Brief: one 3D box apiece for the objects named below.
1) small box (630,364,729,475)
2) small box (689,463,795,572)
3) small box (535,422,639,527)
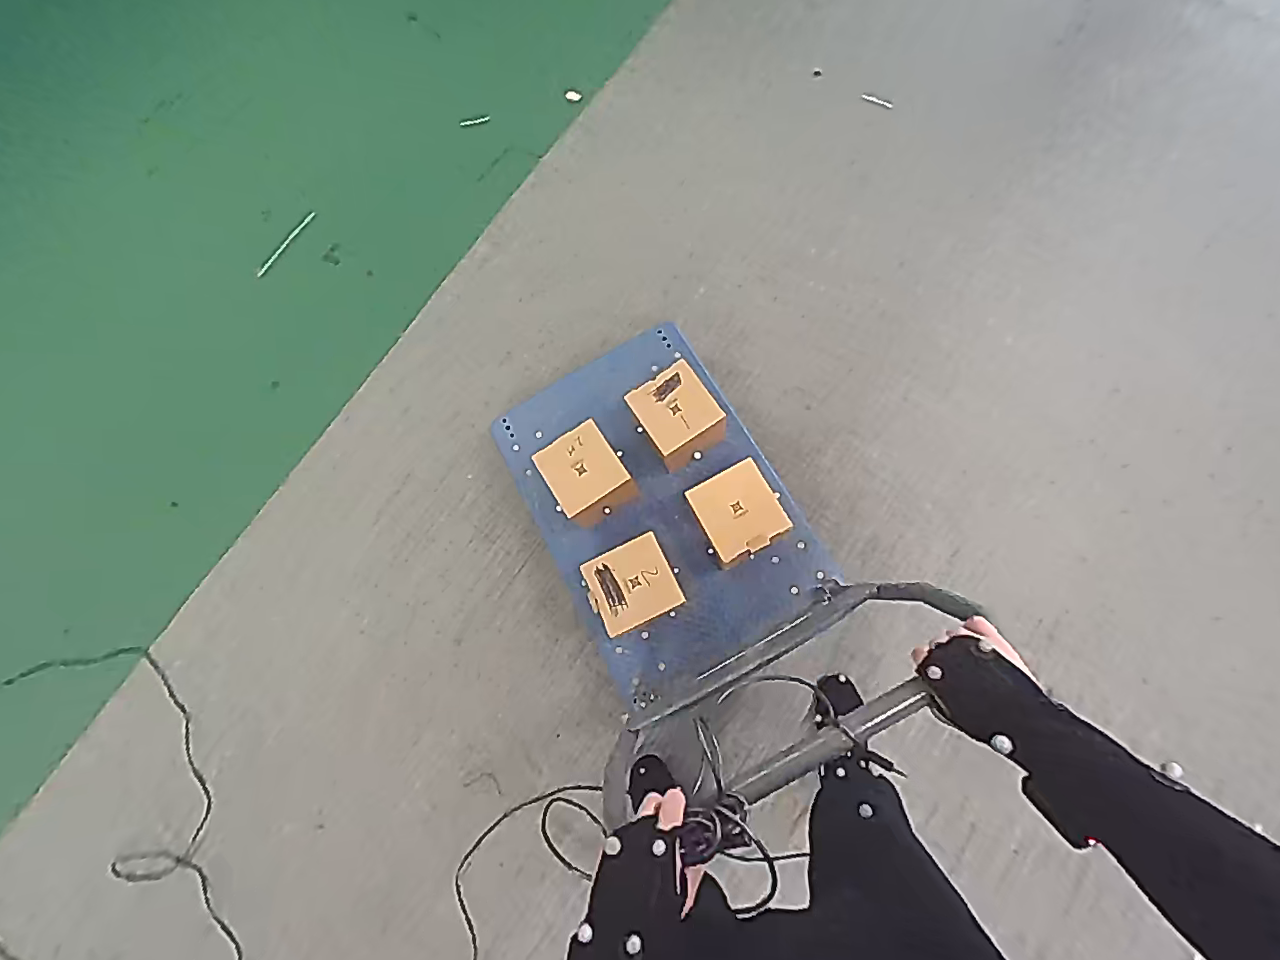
[{"bbox_3d":[0.095,-0.137,1.286,0.168,0.176,0.179,-32,75,-1],"label":"small box"},{"bbox_3d":[0.220,0.091,1.212,0.168,0.176,0.179,-28,75,0],"label":"small box"},{"bbox_3d":[-0.117,-0.002,1.279,0.168,0.176,0.179,-32,74,-2],"label":"small box"}]
